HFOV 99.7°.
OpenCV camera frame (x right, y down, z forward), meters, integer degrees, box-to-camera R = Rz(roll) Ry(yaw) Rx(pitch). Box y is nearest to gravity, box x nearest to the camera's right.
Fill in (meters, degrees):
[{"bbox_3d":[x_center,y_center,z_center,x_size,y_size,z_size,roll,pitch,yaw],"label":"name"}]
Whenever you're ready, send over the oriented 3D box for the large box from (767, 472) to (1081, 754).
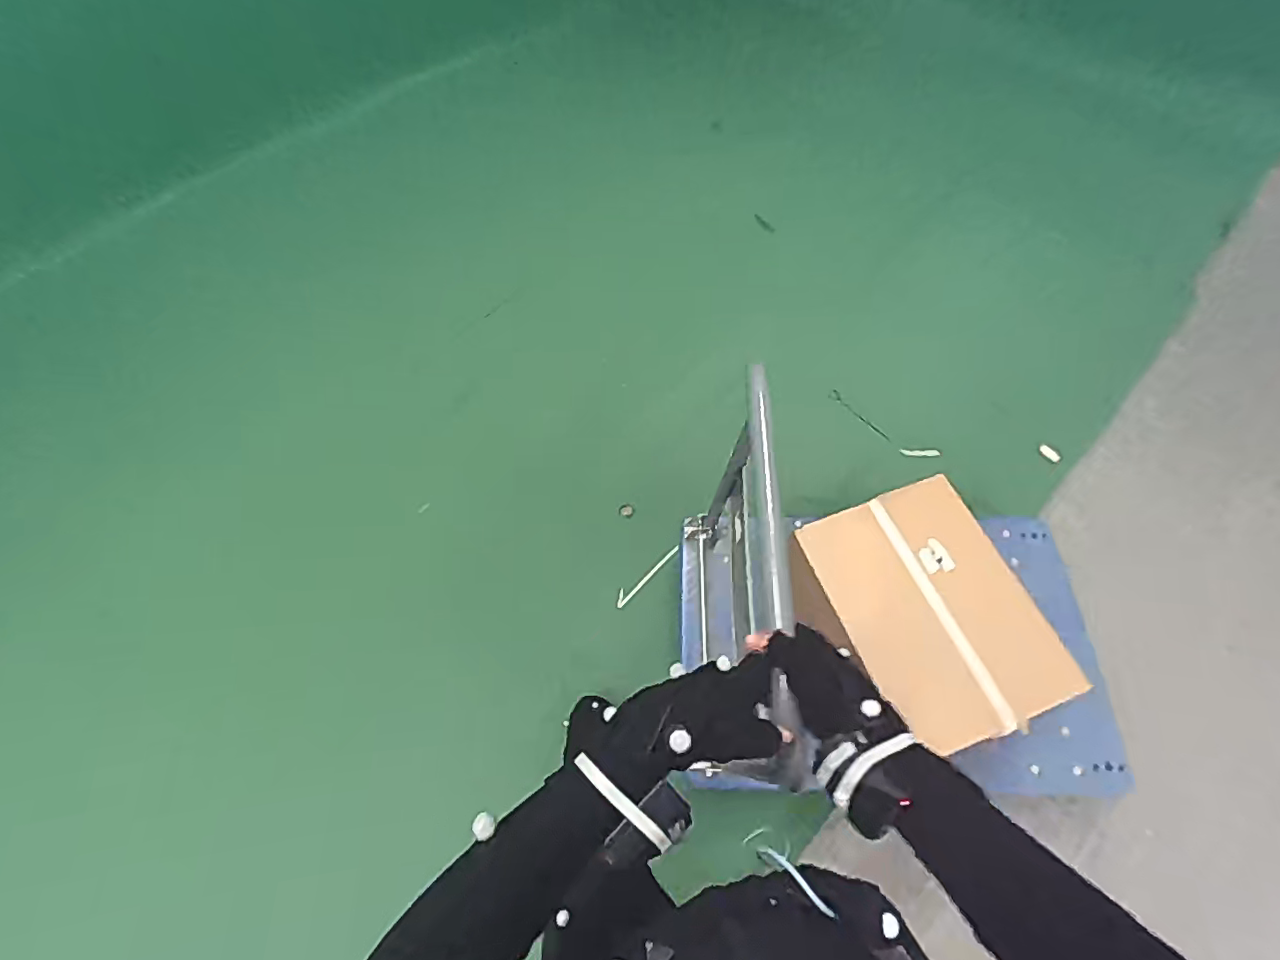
[{"bbox_3d":[0.493,0.264,1.049,0.320,0.320,0.408,-20,64,-7],"label":"large box"}]
